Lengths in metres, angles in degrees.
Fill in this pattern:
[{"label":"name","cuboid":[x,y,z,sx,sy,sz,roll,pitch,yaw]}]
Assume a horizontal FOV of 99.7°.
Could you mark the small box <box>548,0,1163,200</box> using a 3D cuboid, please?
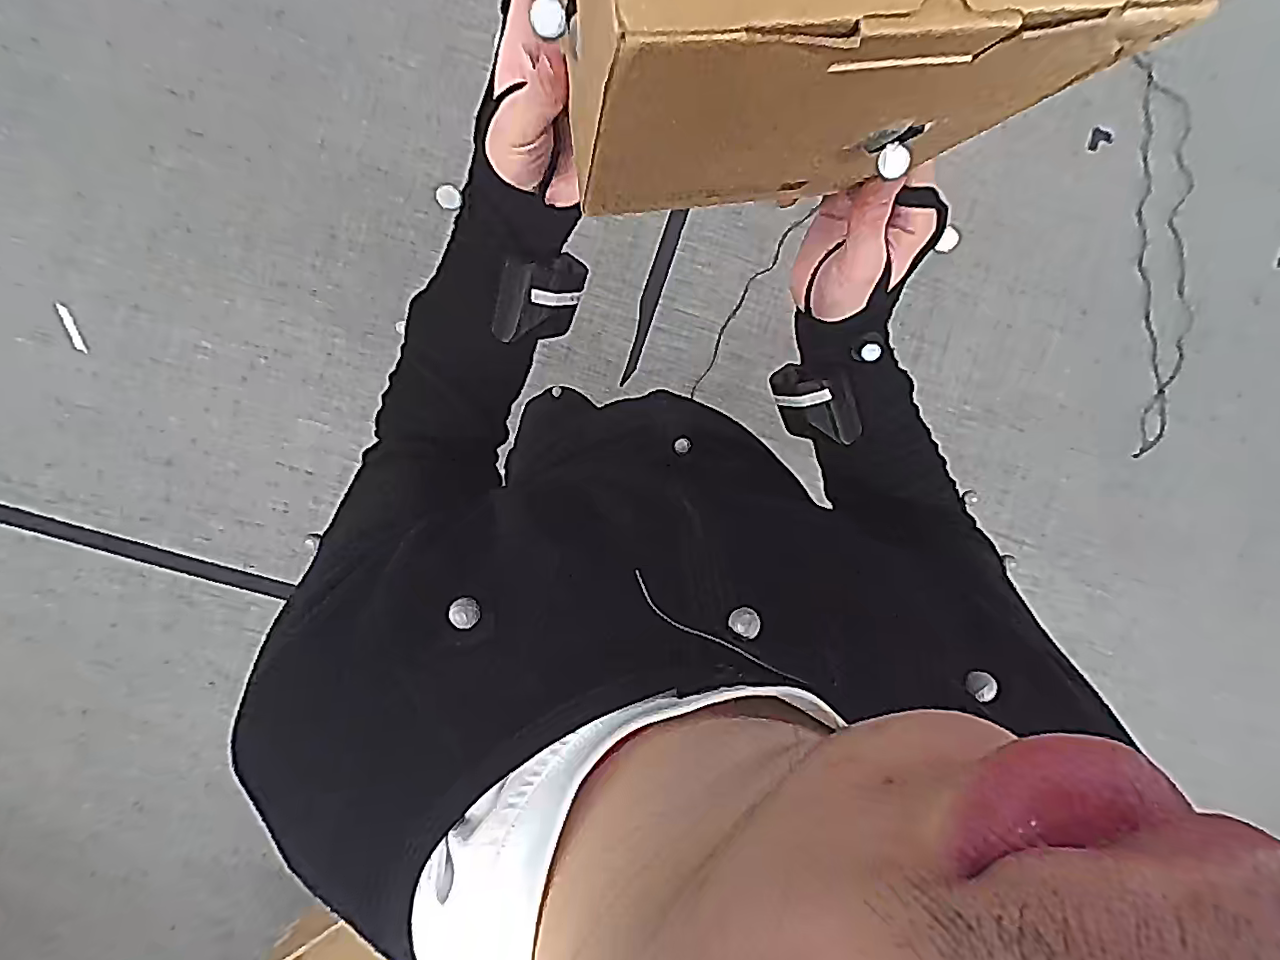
[{"label":"small box","cuboid":[0.049,-0.220,0.202,0.168,0.176,0.179,-10,103,-7]}]
